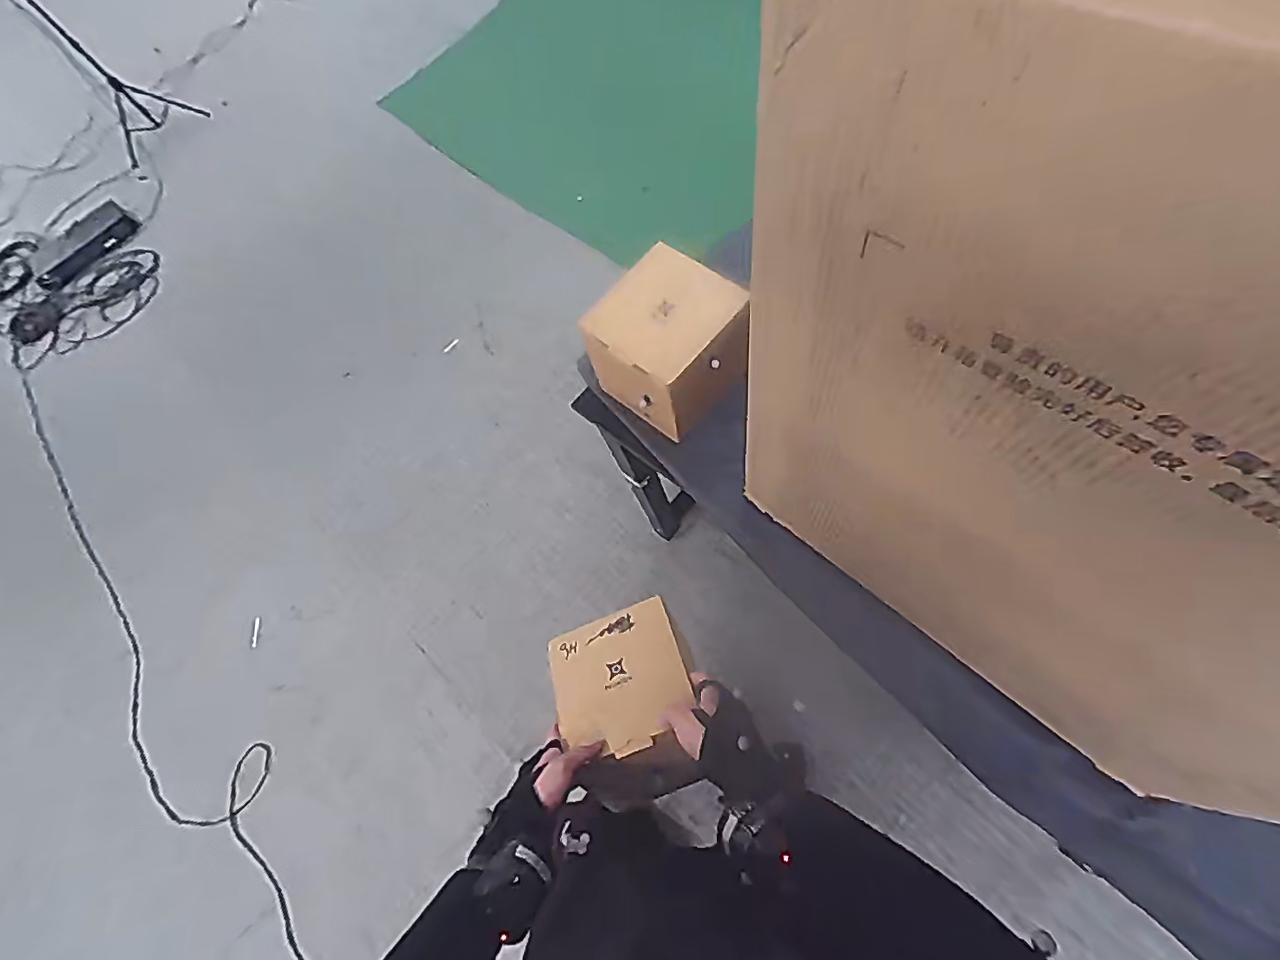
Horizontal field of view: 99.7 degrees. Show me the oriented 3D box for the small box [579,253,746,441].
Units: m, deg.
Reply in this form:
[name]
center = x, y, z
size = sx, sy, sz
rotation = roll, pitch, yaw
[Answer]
[small box]
center = 0.040, -0.189, 0.804
size = 0.168, 0.176, 0.179
rotation = 37, 76, 19
